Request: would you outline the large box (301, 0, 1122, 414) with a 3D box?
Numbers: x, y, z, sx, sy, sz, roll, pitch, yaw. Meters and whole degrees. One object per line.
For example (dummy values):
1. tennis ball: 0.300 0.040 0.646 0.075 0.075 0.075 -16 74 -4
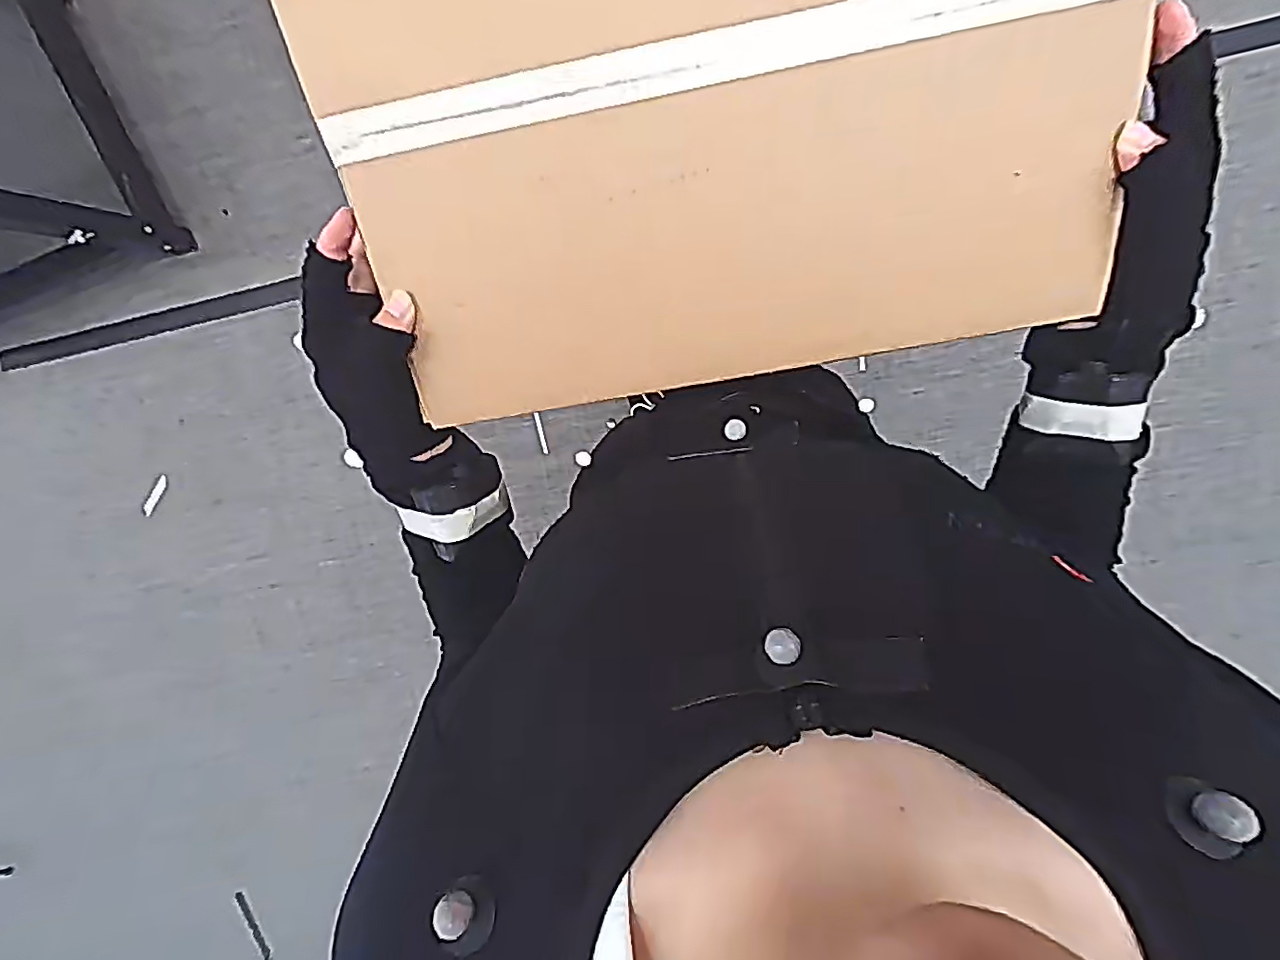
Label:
1. large box: 0.037 -0.272 0.412 0.408 0.320 0.320 -9 115 4
